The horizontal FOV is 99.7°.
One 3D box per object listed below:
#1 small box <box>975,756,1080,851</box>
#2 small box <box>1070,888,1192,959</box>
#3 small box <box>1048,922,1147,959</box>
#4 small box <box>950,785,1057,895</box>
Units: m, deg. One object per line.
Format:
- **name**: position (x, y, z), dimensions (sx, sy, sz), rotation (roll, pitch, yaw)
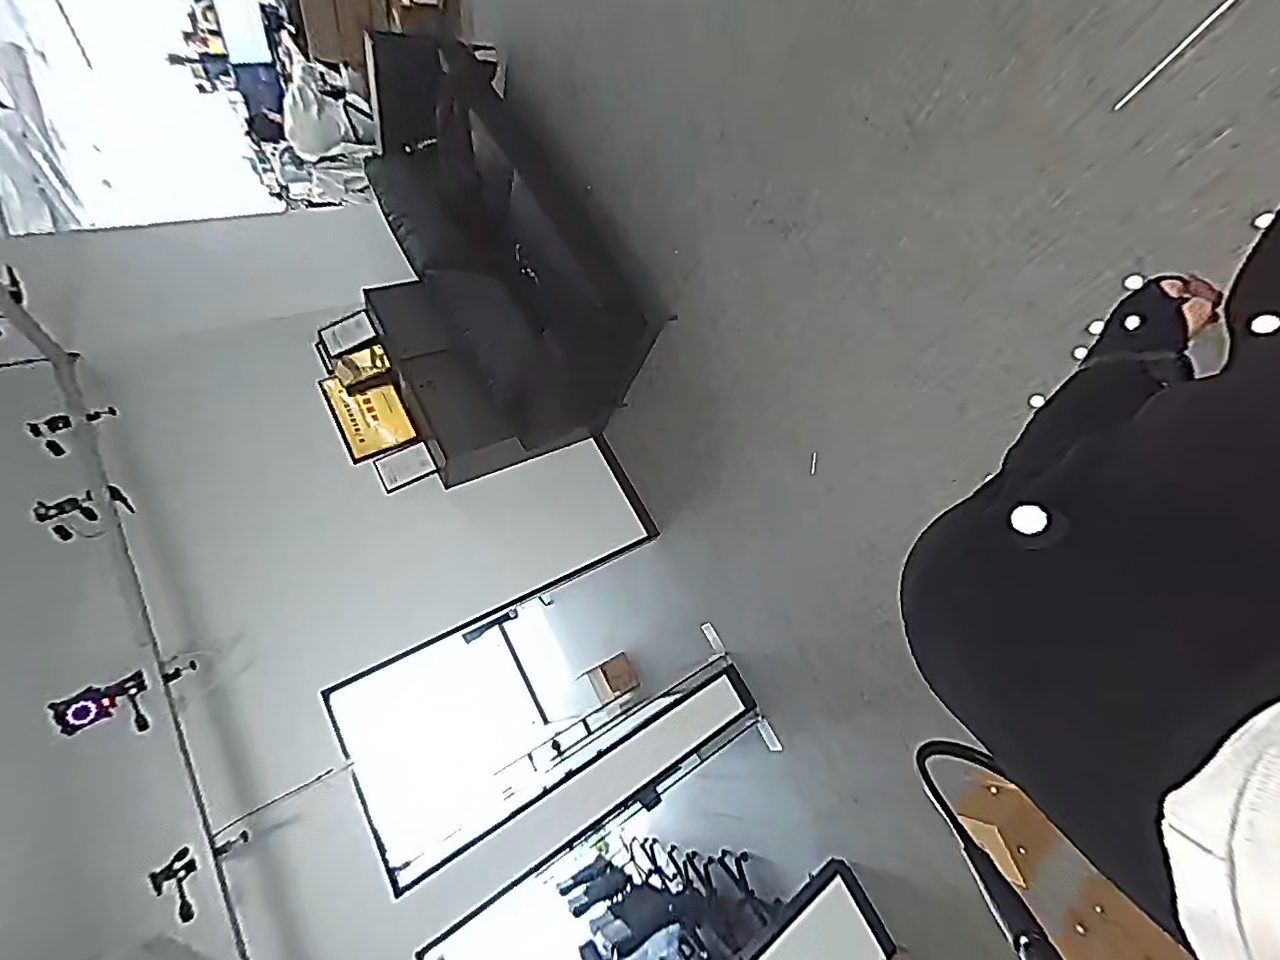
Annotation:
- **small box**: position (1.168, 0.963, 1.631), dimensions (0.179, 0.176, 0.168), rotation (63, 152, 9)
- **small box**: position (1.369, 1.280, 1.501), dimensions (0.168, 0.176, 0.179), rotation (60, 152, 16)
- **small box**: position (1.234, 1.323, 1.416), dimensions (0.179, 0.176, 0.168), rotation (60, 151, 15)
- **small box**: position (1.041, 1.017, 1.545), dimensions (0.179, 0.176, 0.168), rotation (65, 151, 5)
